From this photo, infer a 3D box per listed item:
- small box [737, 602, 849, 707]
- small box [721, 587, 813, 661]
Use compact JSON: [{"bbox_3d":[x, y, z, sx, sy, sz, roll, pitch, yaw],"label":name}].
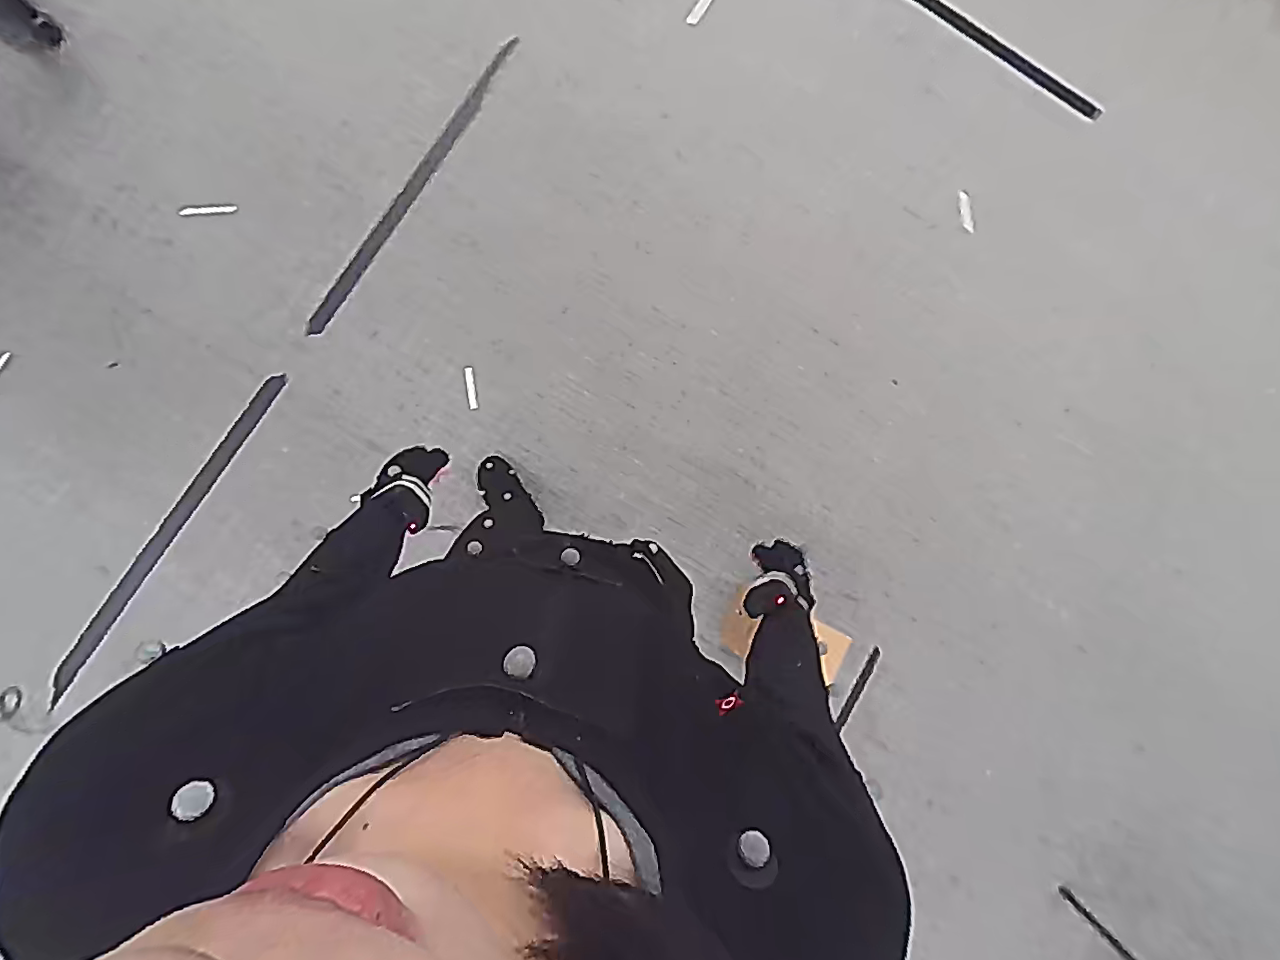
[{"bbox_3d":[0.356,0.405,1.292,0.179,0.176,0.168,27,86,-4],"label":"small box"},{"bbox_3d":[0.332,0.406,1.453,0.168,0.176,0.179,24,83,-3],"label":"small box"}]
